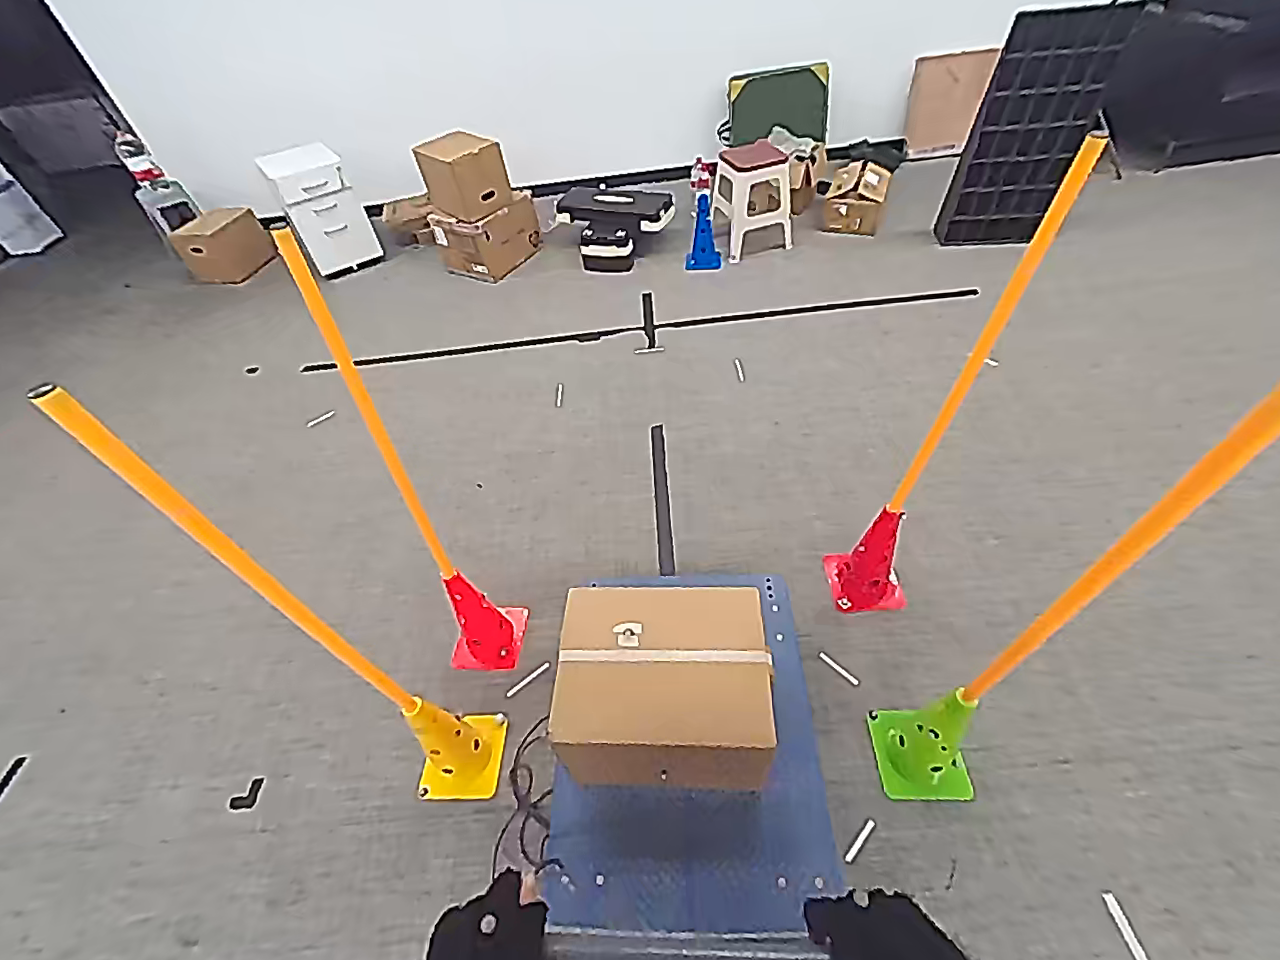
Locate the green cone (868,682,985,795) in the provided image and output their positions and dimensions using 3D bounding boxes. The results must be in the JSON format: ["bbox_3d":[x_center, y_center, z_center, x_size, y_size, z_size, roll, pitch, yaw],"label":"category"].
[{"bbox_3d":[0.661,0.537,1.185,0.202,0.368,0.200,-2,48,4],"label":"green cone"}]

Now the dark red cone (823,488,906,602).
[{"bbox_3d":[0.659,0.167,1.499,0.201,0.394,0.202,-5,48,1],"label":"dark red cone"}]

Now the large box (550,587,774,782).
[{"bbox_3d":[0.057,0.445,1.160,0.408,0.320,0.320,-2,48,6],"label":"large box"}]

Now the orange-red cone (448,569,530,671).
[{"bbox_3d":[-0.459,0.360,1.507,0.198,0.360,0.199,0,47,7],"label":"orange-red cone"}]
